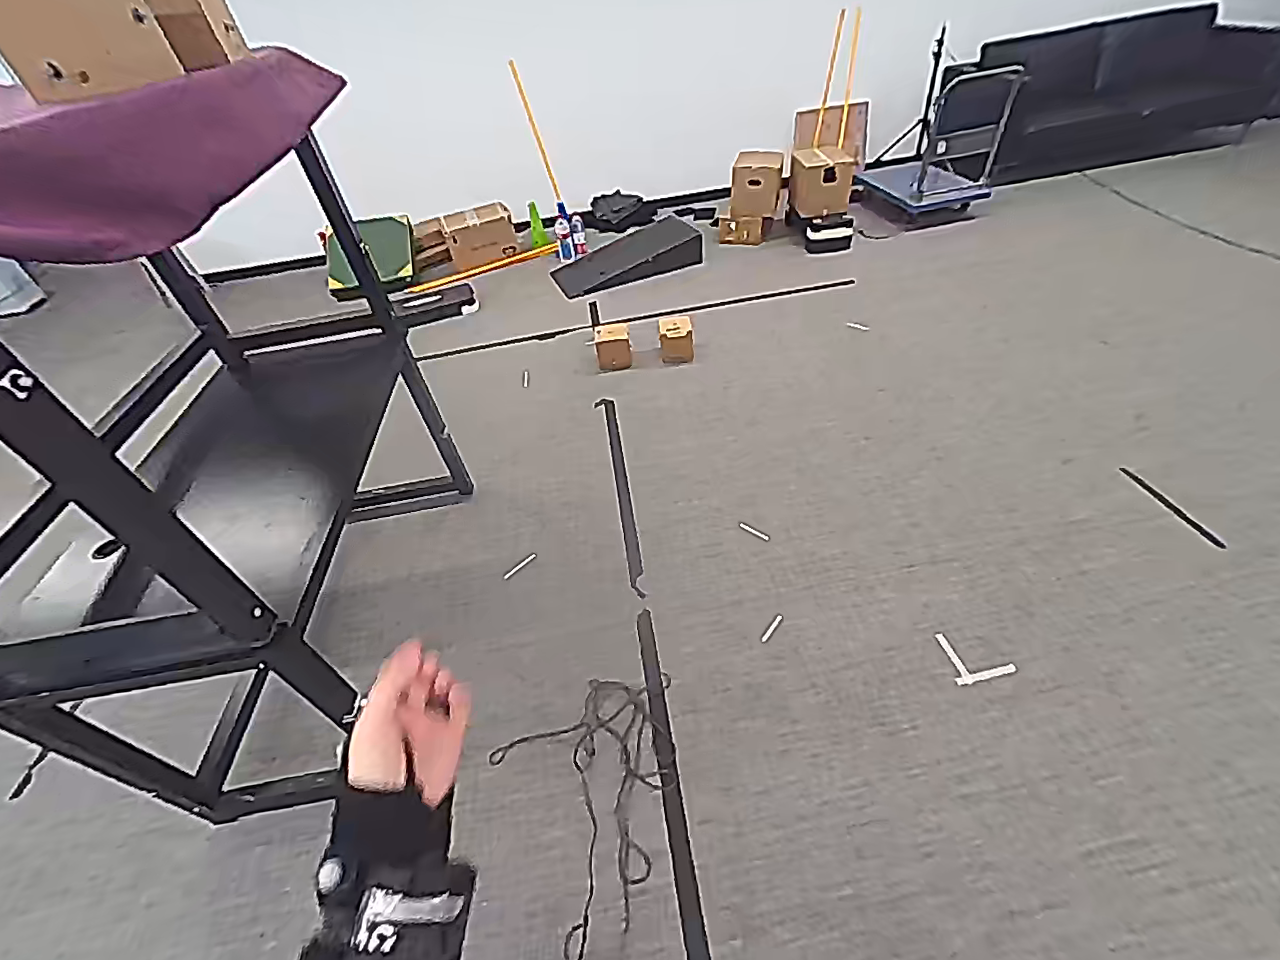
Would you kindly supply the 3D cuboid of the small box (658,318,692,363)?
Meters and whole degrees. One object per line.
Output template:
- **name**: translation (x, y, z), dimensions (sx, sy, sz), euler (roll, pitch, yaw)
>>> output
- **small box**: translation (0.185, -0.730, 2.853), dimensions (0.168, 0.176, 0.179), euler (-6, 42, 2)

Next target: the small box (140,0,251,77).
- **small box**: translation (-0.963, -0.947, 1.117), dimensions (0.179, 0.176, 0.168), euler (-14, 44, -5)

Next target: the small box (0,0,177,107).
- **small box**: translation (-0.932, -0.739, 0.897), dimensions (0.168, 0.176, 0.179), euler (-8, 43, 2)

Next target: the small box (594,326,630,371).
- **small box**: translation (-0.145, -0.693, 2.861), dimensions (0.179, 0.176, 0.168), euler (-6, 43, 1)
